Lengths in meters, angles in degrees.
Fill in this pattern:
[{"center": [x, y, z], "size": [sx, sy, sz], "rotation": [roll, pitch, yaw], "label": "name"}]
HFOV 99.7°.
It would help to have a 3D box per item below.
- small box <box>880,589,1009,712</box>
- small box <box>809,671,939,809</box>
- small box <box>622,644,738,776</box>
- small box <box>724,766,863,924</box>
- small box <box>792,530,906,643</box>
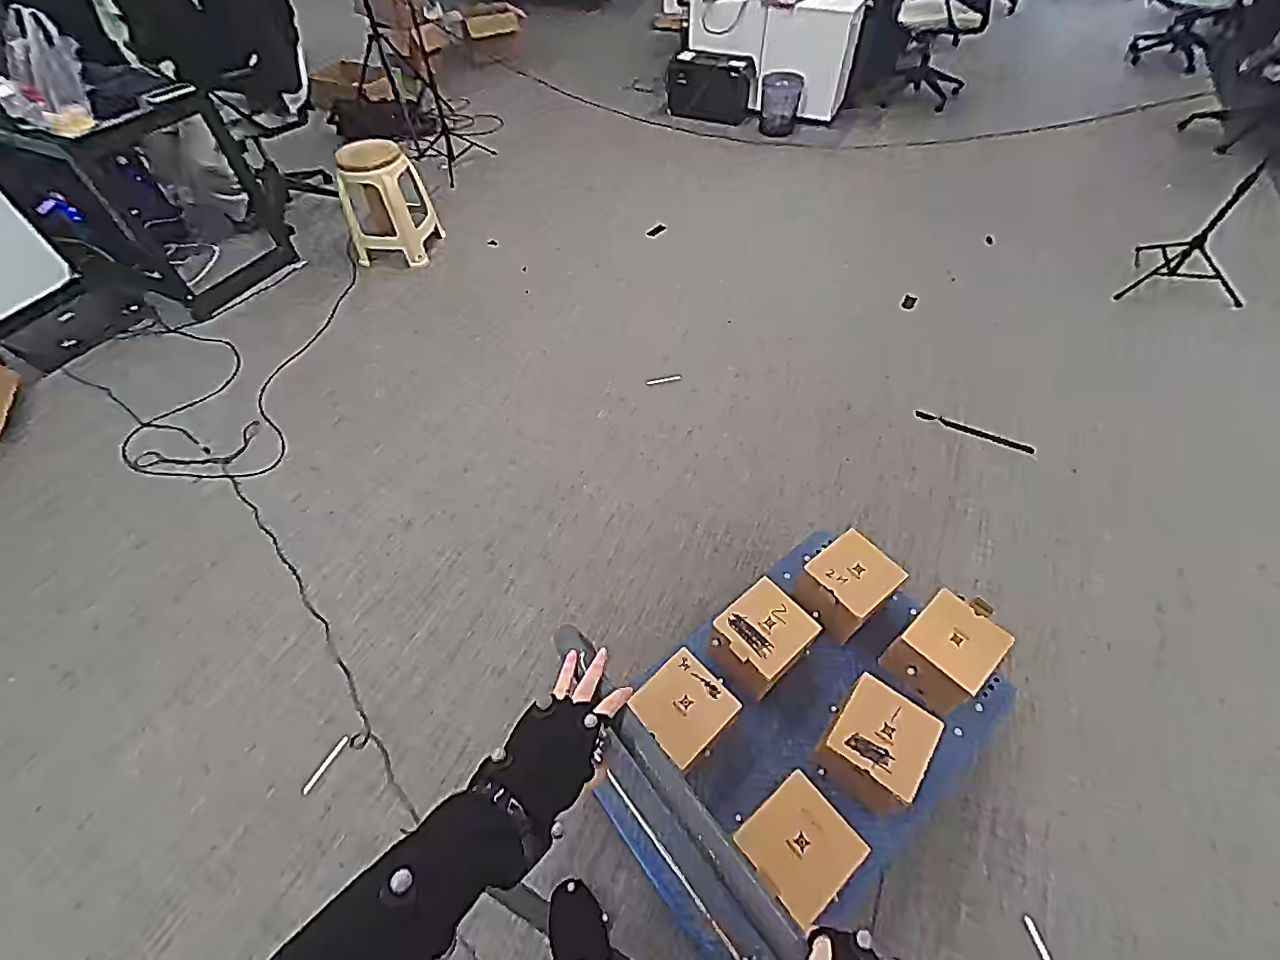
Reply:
[{"center": [0.666, 0.385, 1.207], "size": [0.179, 0.176, 0.168], "rotation": [-36, 60, -23], "label": "small box"}, {"center": [0.464, 0.533, 1.100], "size": [0.168, 0.176, 0.179], "rotation": [33, 60, 23], "label": "small box"}, {"center": [0.082, 0.488, 1.139], "size": [0.179, 0.176, 0.168], "rotation": [-36, 61, -23], "label": "small box"}, {"center": [0.271, 0.673, 1.000], "size": [0.179, 0.176, 0.168], "rotation": [-32, 59, -21], "label": "small box"}, {"center": [0.493, 0.259, 1.304], "size": [0.179, 0.176, 0.168], "rotation": [-32, 58, -20], "label": "small box"}]
